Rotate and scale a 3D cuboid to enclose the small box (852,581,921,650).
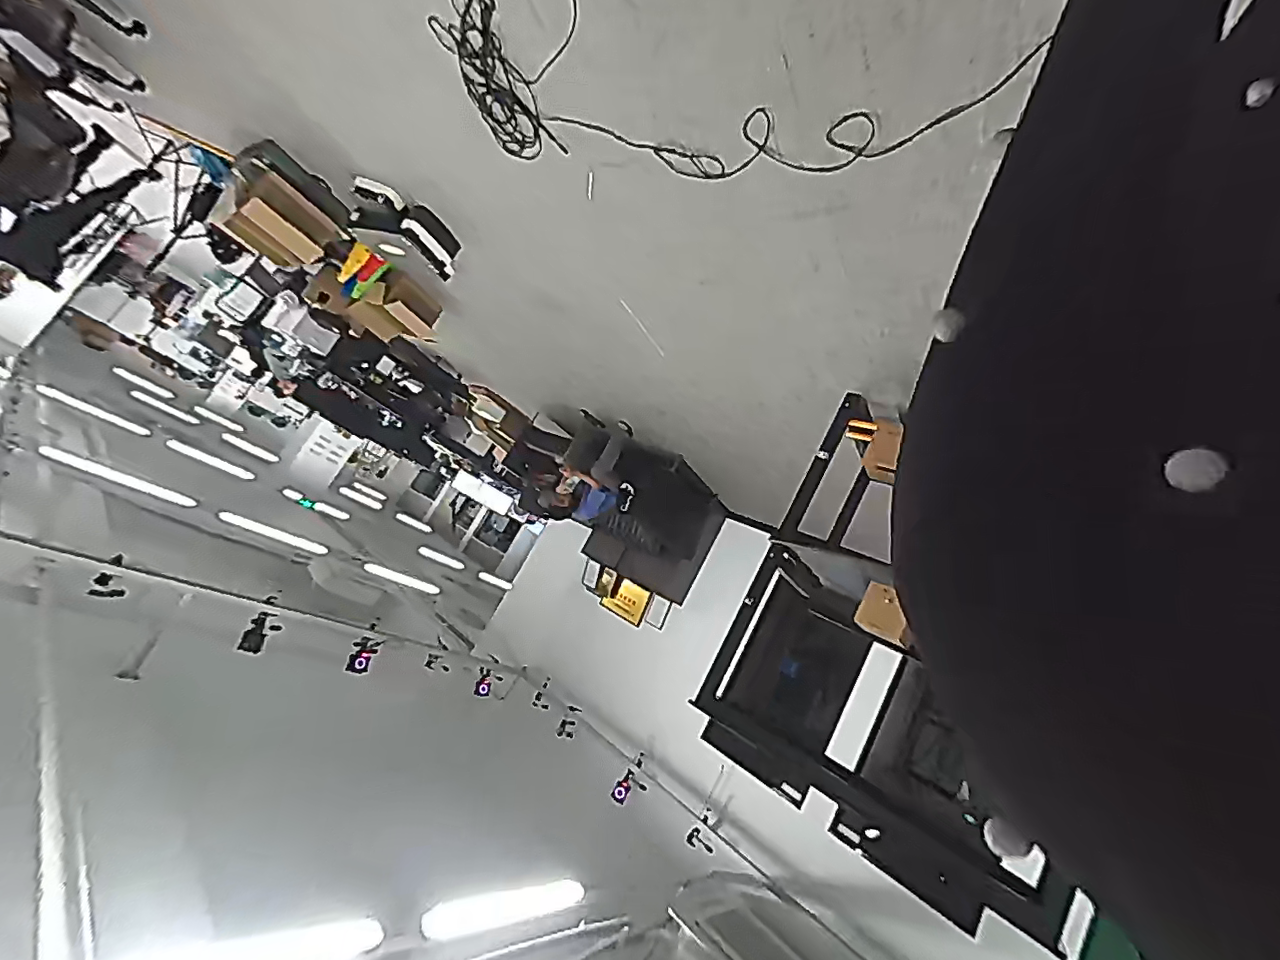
[{"bbox_3d":[0.916,0.498,1.999,0.168,0.176,0.179,19,166,42],"label":"small box"}]
